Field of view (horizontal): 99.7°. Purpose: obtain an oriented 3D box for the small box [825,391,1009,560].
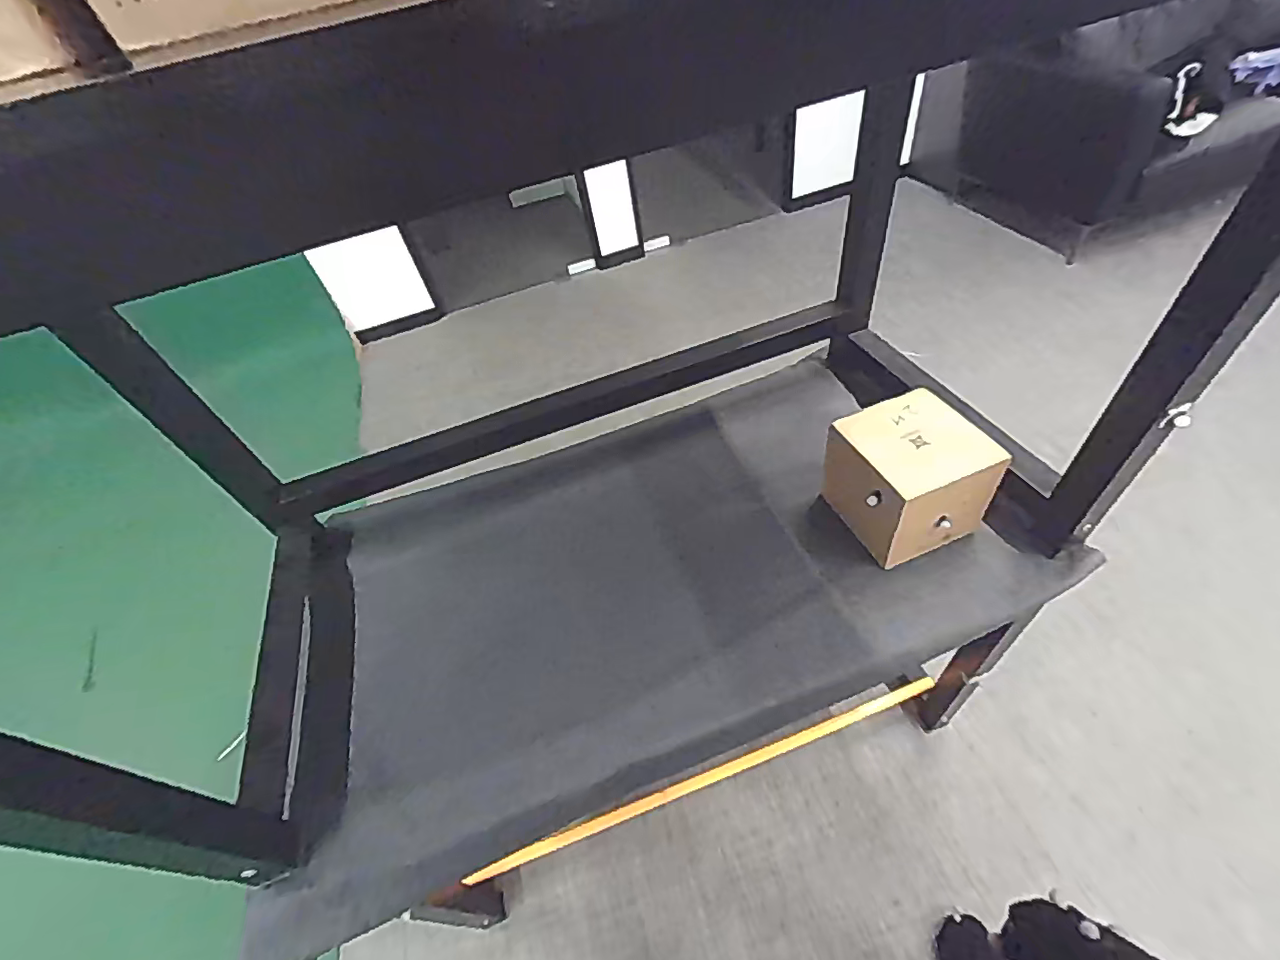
[{"bbox_3d":[0.405,0.000,0.826,0.168,0.176,0.179,-21,47,-7],"label":"small box"}]
